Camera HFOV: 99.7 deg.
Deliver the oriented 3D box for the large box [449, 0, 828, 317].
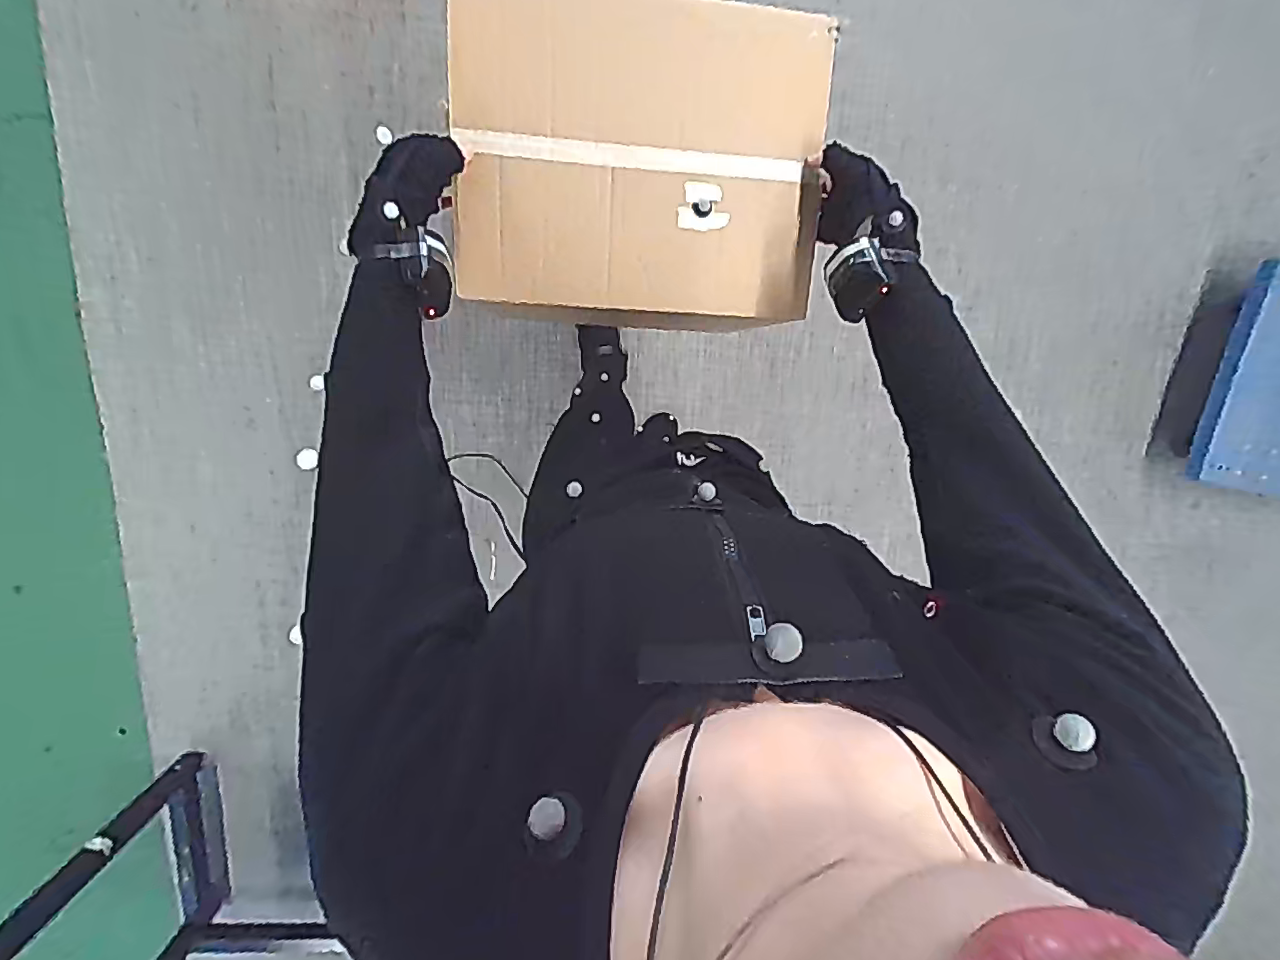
[{"bbox_3d":[-0.018,-0.397,0.729,0.408,0.320,0.320,0,103,-9],"label":"large box"}]
